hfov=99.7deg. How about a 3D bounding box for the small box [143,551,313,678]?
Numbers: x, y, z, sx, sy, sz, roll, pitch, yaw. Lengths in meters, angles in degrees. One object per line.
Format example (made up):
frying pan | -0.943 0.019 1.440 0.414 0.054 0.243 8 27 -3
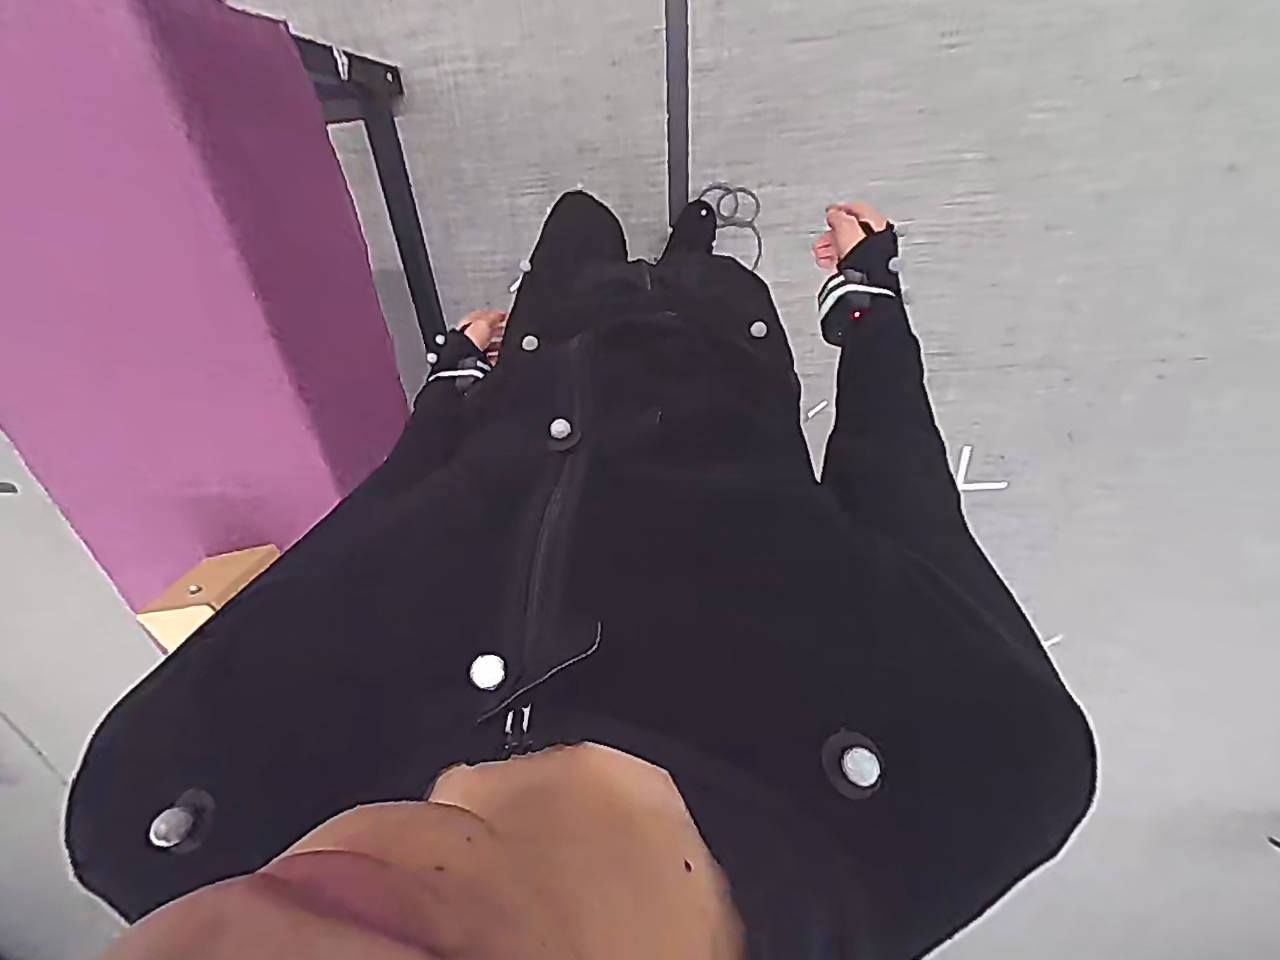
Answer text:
small box | -0.784 0.258 1.057 0.179 0.176 0.168 -11 118 13
